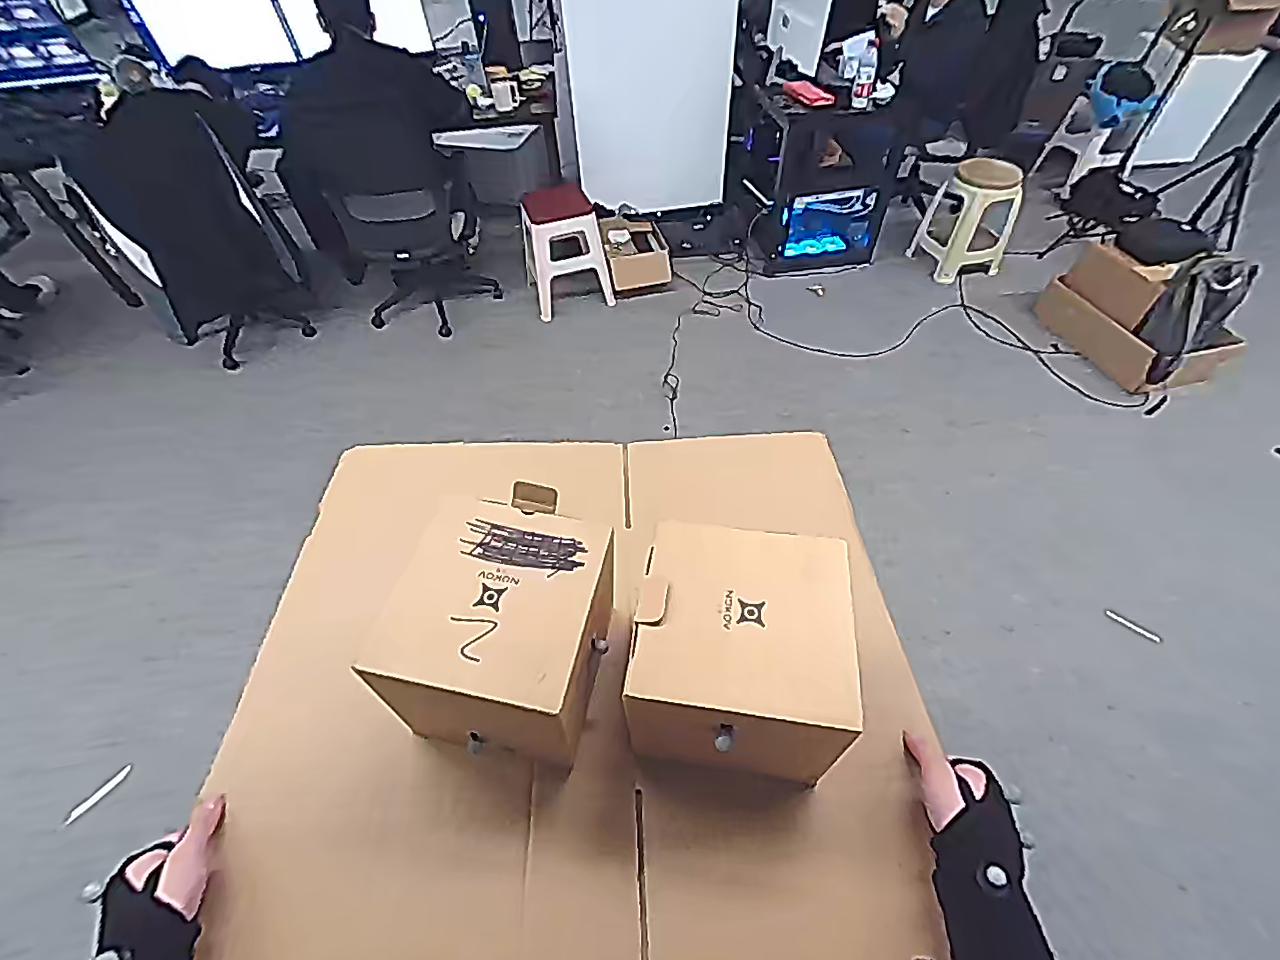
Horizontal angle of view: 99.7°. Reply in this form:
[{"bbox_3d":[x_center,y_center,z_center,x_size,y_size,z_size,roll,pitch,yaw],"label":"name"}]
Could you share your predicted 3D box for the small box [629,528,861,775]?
[{"bbox_3d":[0.094,0.167,0.516,0.179,0.176,0.168,5,51,9],"label":"small box"}]
